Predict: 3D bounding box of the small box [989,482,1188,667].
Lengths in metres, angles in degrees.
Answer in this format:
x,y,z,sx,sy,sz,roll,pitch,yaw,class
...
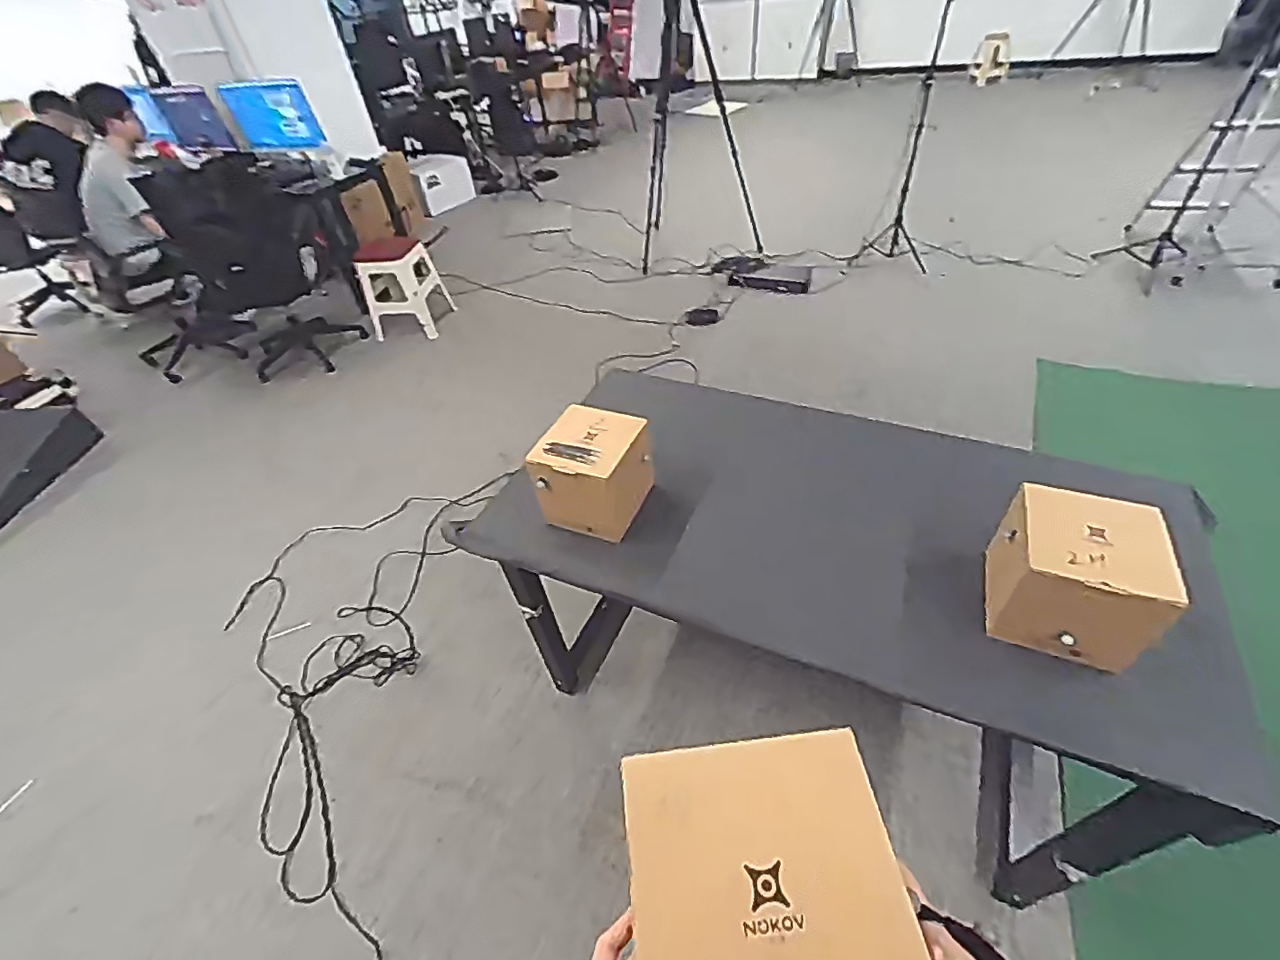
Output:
x,y,z,sx,sy,sz,roll,pitch,yaw,class
0.621,0.134,0.779,0.168,0.176,0.179,12,47,22,small box

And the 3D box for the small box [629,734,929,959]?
x,y,z,sx,sy,sz,roll,pitch,yaw,class
0.083,0.307,0.386,0.168,0.176,0.179,-7,48,0,small box
